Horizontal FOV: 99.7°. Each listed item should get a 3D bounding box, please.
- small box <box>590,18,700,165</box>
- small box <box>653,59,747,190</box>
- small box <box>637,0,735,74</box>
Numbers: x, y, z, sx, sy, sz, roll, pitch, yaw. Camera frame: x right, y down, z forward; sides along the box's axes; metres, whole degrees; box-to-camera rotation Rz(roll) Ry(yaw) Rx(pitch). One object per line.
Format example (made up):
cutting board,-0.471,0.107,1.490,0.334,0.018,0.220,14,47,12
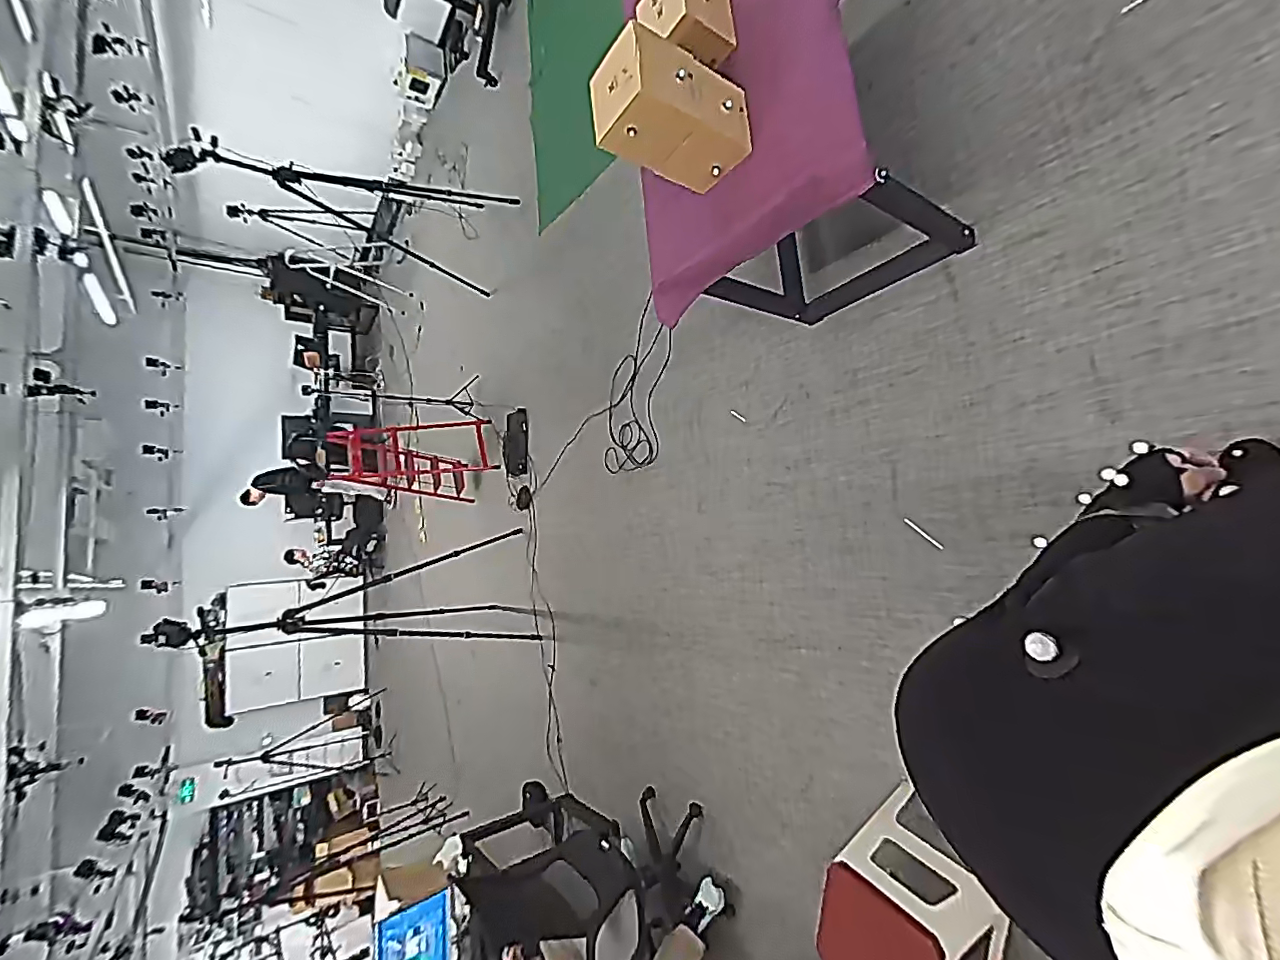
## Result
small box,0.010,-0.844,1.199,0.179,0.176,0.168,-17,77,51
small box,0.141,-0.841,1.299,0.179,0.176,0.168,-17,76,51
small box,0.113,-1.128,1.338,0.168,0.176,0.179,-17,77,52
